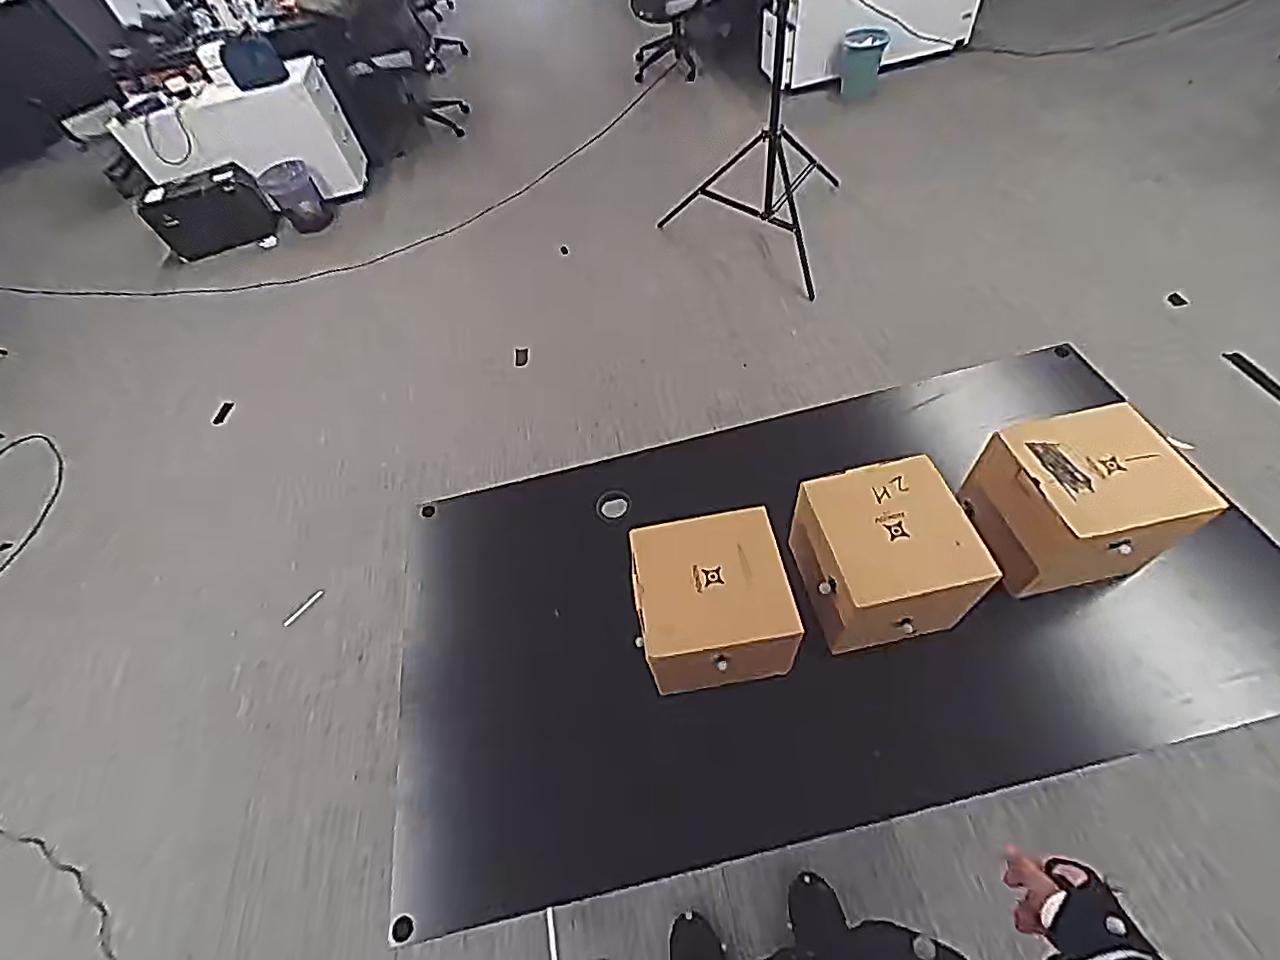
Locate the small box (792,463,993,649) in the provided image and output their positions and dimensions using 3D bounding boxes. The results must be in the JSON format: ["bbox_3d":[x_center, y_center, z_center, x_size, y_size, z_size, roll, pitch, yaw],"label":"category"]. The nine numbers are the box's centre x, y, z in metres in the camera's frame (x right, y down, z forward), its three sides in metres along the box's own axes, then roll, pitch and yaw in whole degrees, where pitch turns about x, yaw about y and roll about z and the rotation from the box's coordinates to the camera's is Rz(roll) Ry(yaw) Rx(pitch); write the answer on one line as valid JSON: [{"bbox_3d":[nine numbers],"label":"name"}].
[{"bbox_3d":[0.311,0.108,0.711,0.168,0.176,0.179,-12,54,0],"label":"small box"}]

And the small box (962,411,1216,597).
[{"bbox_3d":[0.563,0.039,0.718,0.179,0.176,0.168,-12,54,0],"label":"small box"}]
